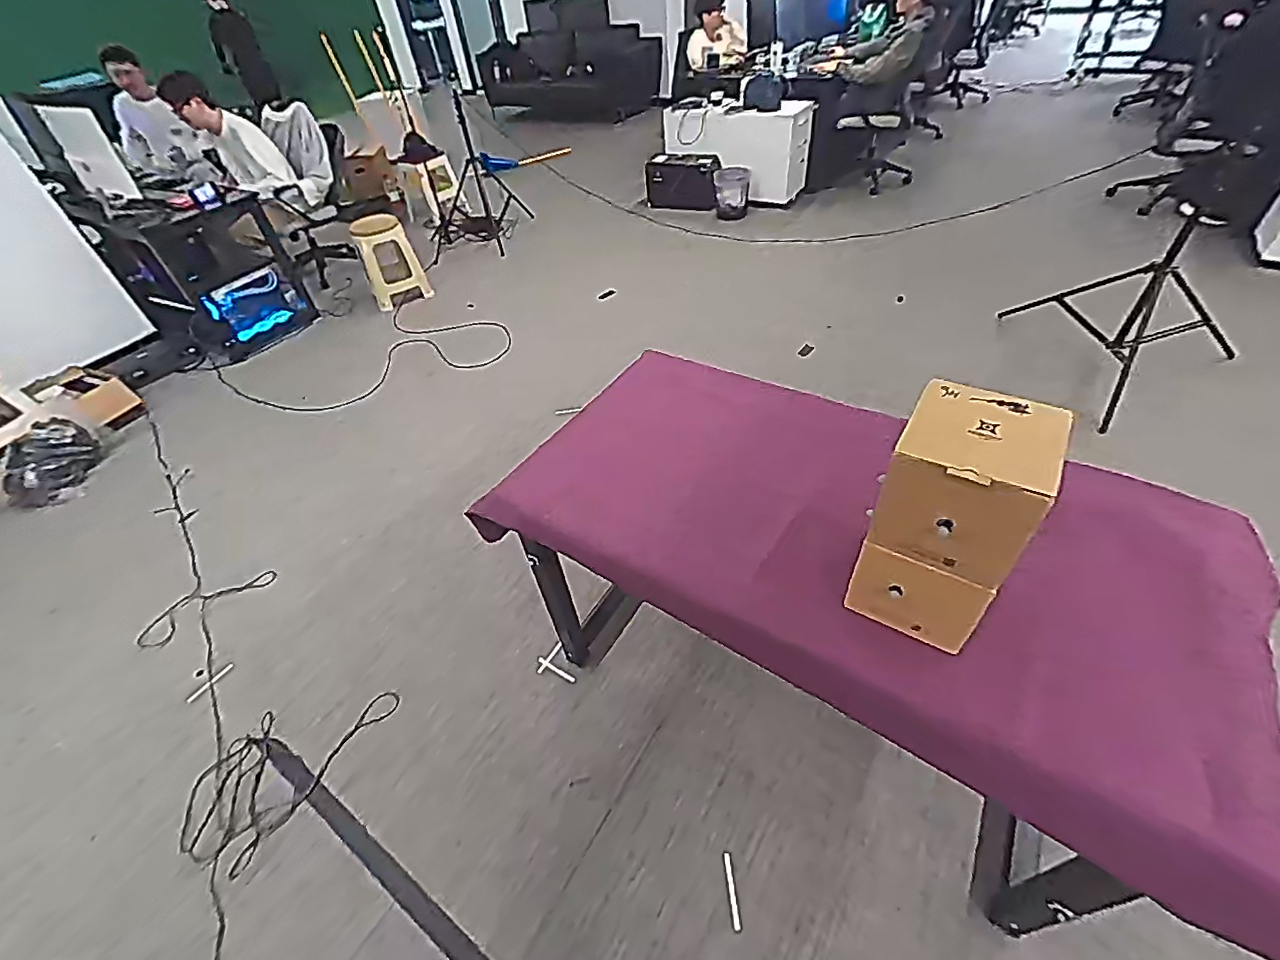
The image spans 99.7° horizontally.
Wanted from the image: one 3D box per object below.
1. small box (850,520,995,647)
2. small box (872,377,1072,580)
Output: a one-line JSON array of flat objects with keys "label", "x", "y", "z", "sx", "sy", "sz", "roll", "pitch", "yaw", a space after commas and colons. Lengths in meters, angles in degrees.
[{"label": "small box", "x": 0.431, "y": 0.117, "z": 0.817, "sx": 0.168, "sy": 0.176, "sz": 0.179, "roll": 22, "pitch": 51, "yaw": 26}, {"label": "small box", "x": 0.420, "y": -0.002, "z": 0.705, "sx": 0.168, "sy": 0.176, "sz": 0.179, "roll": 23, "pitch": 52, "yaw": 27}]
